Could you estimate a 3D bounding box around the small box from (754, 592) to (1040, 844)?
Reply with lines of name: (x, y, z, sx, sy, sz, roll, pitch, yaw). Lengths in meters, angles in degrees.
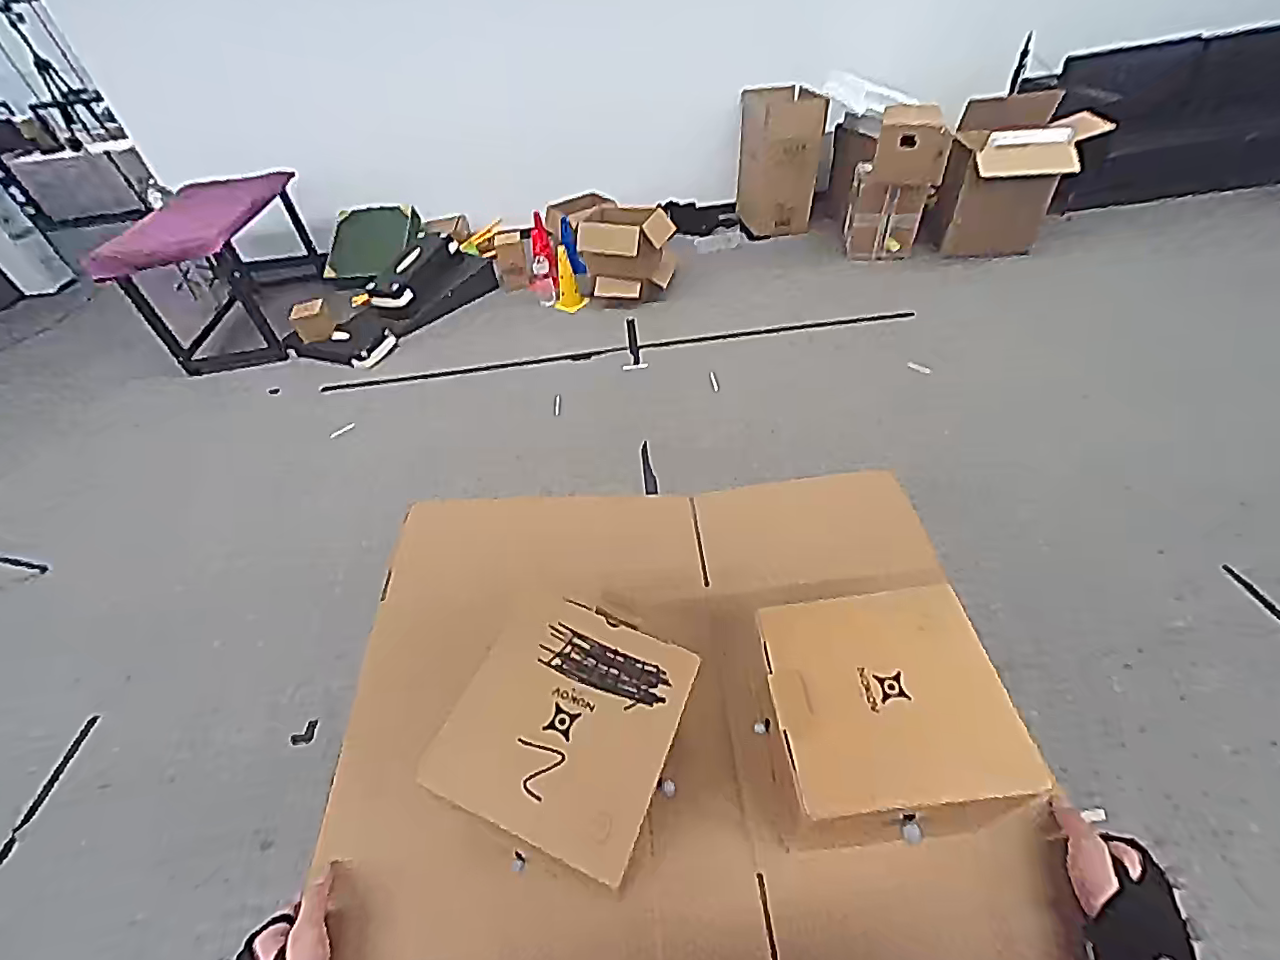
small box: (0.210, 0.226, 0.506, 0.179, 0.176, 0.168, -9, 48, 3)
